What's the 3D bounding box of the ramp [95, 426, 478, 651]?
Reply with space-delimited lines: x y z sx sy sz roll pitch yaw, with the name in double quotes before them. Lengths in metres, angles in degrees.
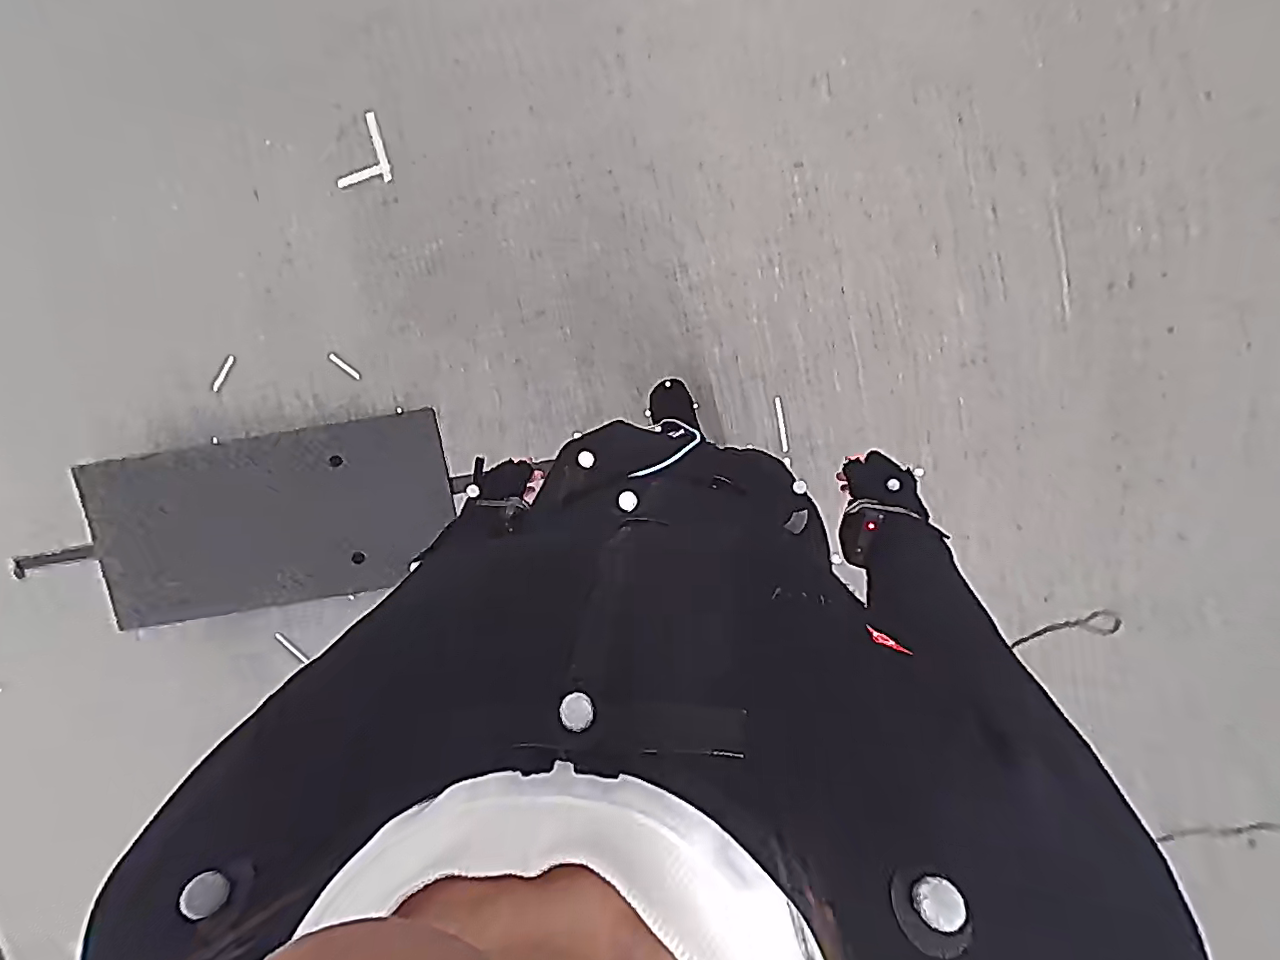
"ramp" -1.003 0.167 1.551 0.991 0.206 0.509 -11 94 10
